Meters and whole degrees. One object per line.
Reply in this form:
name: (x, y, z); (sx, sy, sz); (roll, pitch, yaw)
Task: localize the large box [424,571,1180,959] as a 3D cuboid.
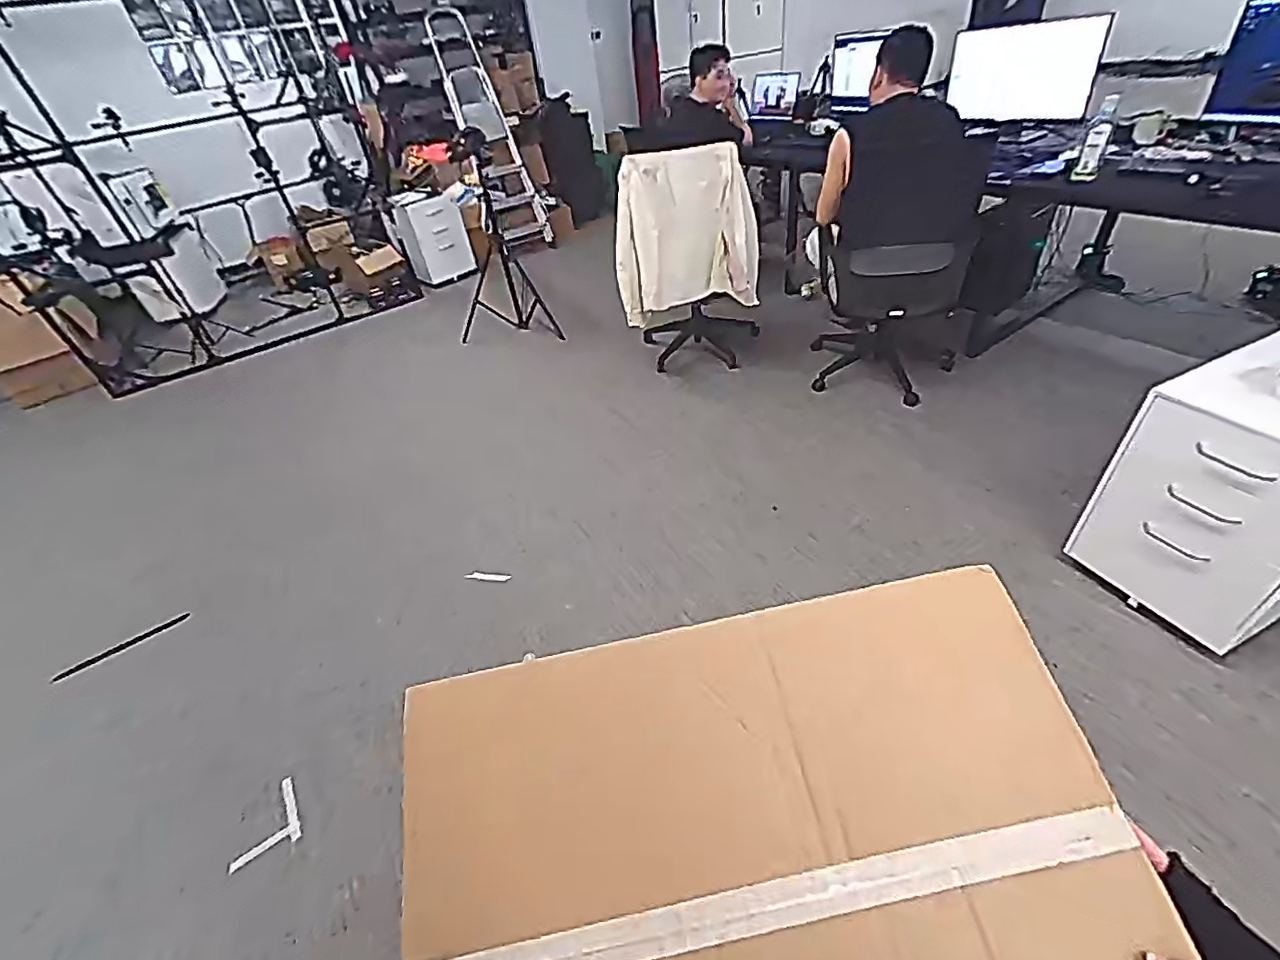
large box: (0.085, 0.305, 0.436); (0.408, 0.320, 0.320); (-12, 63, 0)
